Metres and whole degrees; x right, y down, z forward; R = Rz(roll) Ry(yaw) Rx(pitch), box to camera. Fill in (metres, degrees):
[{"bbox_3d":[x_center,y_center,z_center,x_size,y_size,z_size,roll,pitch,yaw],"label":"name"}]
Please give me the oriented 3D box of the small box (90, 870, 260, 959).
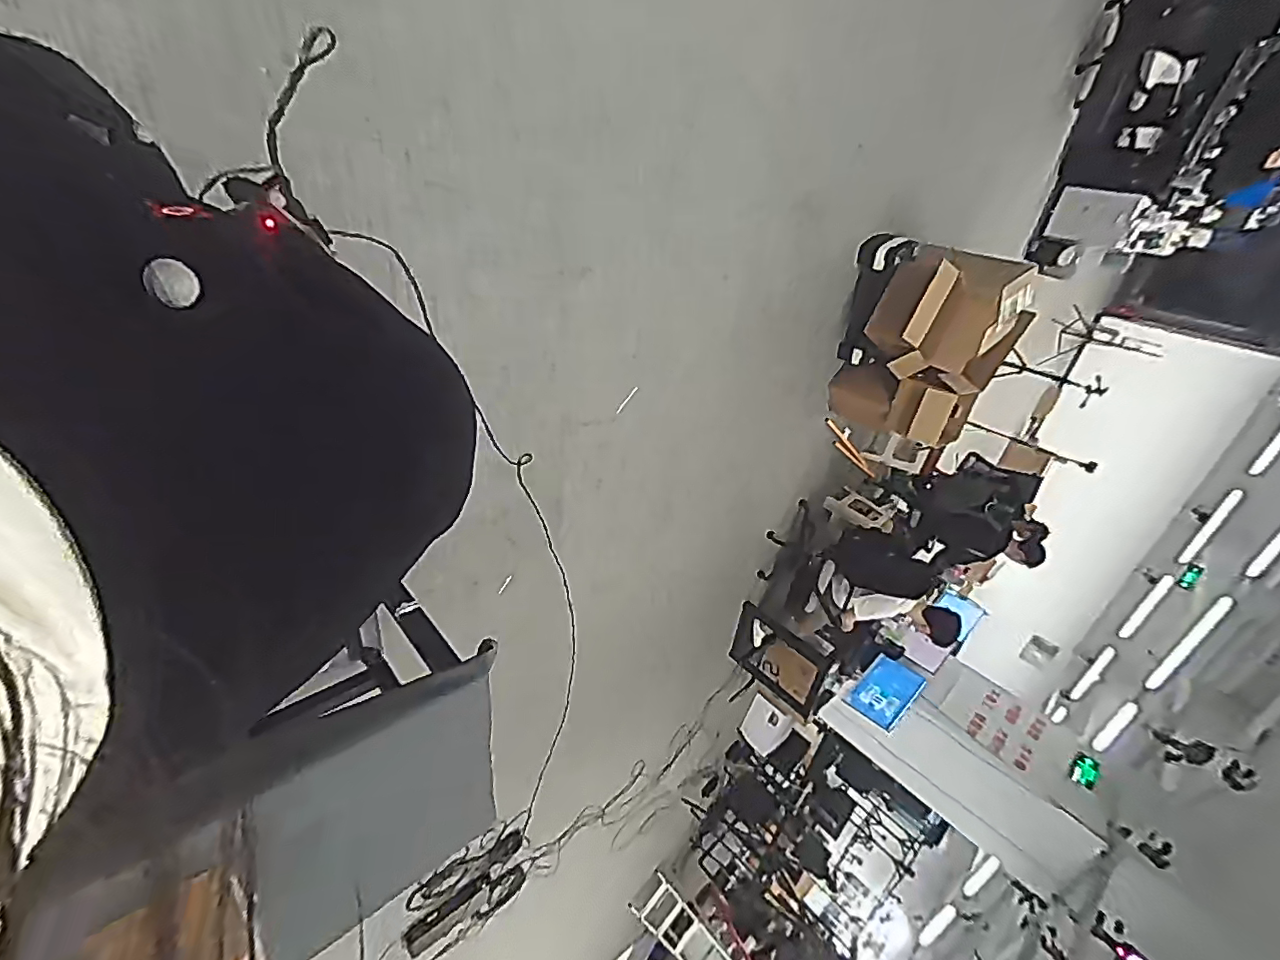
[{"bbox_3d":[-0.706,0.757,0.835,0.168,0.176,0.179,-20,130,-40],"label":"small box"}]
